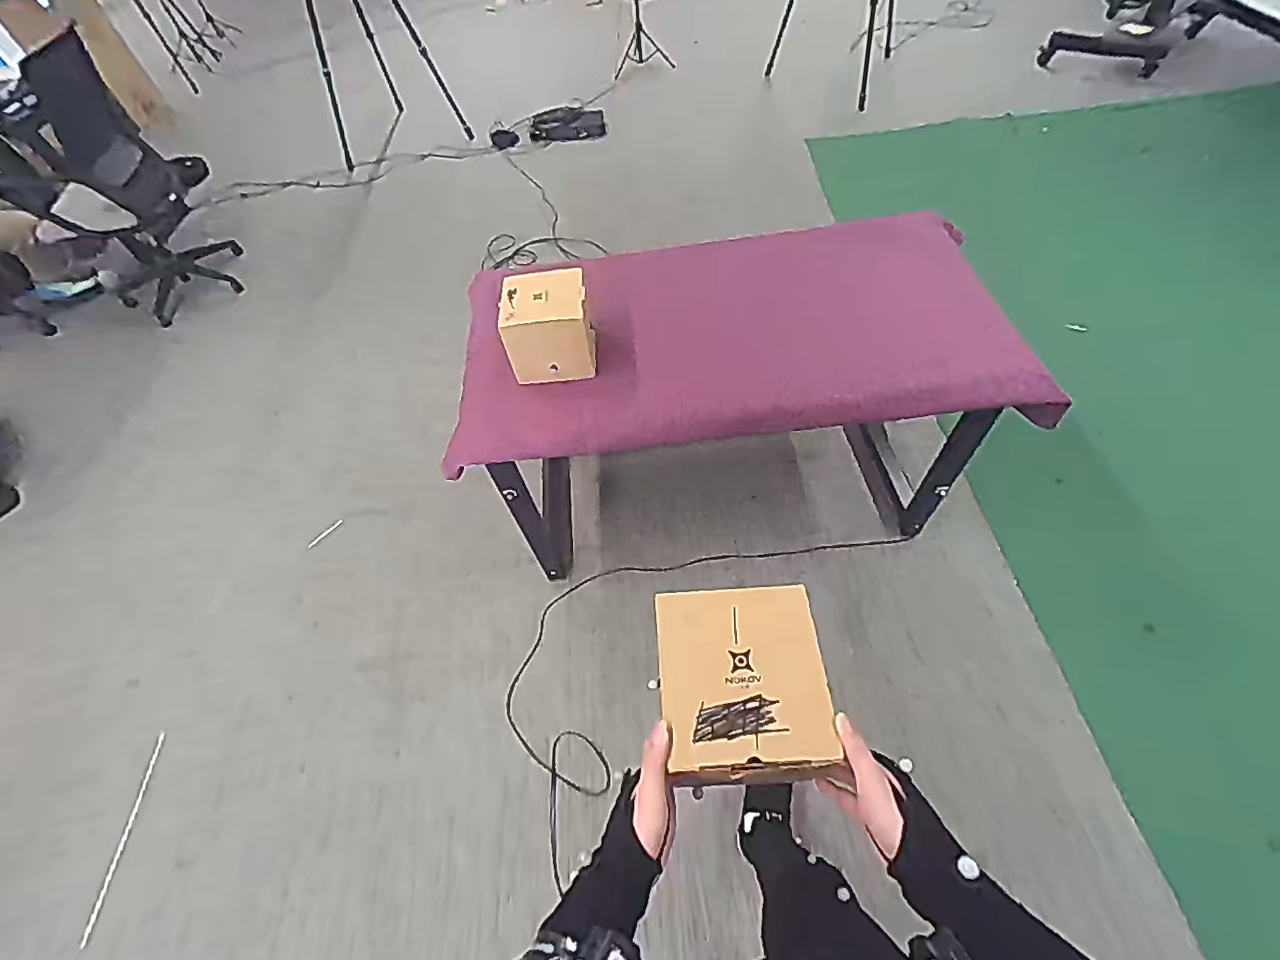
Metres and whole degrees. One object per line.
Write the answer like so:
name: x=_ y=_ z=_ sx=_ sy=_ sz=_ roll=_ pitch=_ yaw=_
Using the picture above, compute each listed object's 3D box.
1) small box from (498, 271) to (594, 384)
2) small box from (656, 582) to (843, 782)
small box: x=-0.195 y=-0.328 z=1.180 sx=0.179 sy=0.176 sz=0.168 roll=-5 pitch=55 yaw=2
small box: x=0.107 y=0.232 z=0.604 sx=0.168 sy=0.176 sz=0.179 roll=-3 pitch=55 yaw=1
